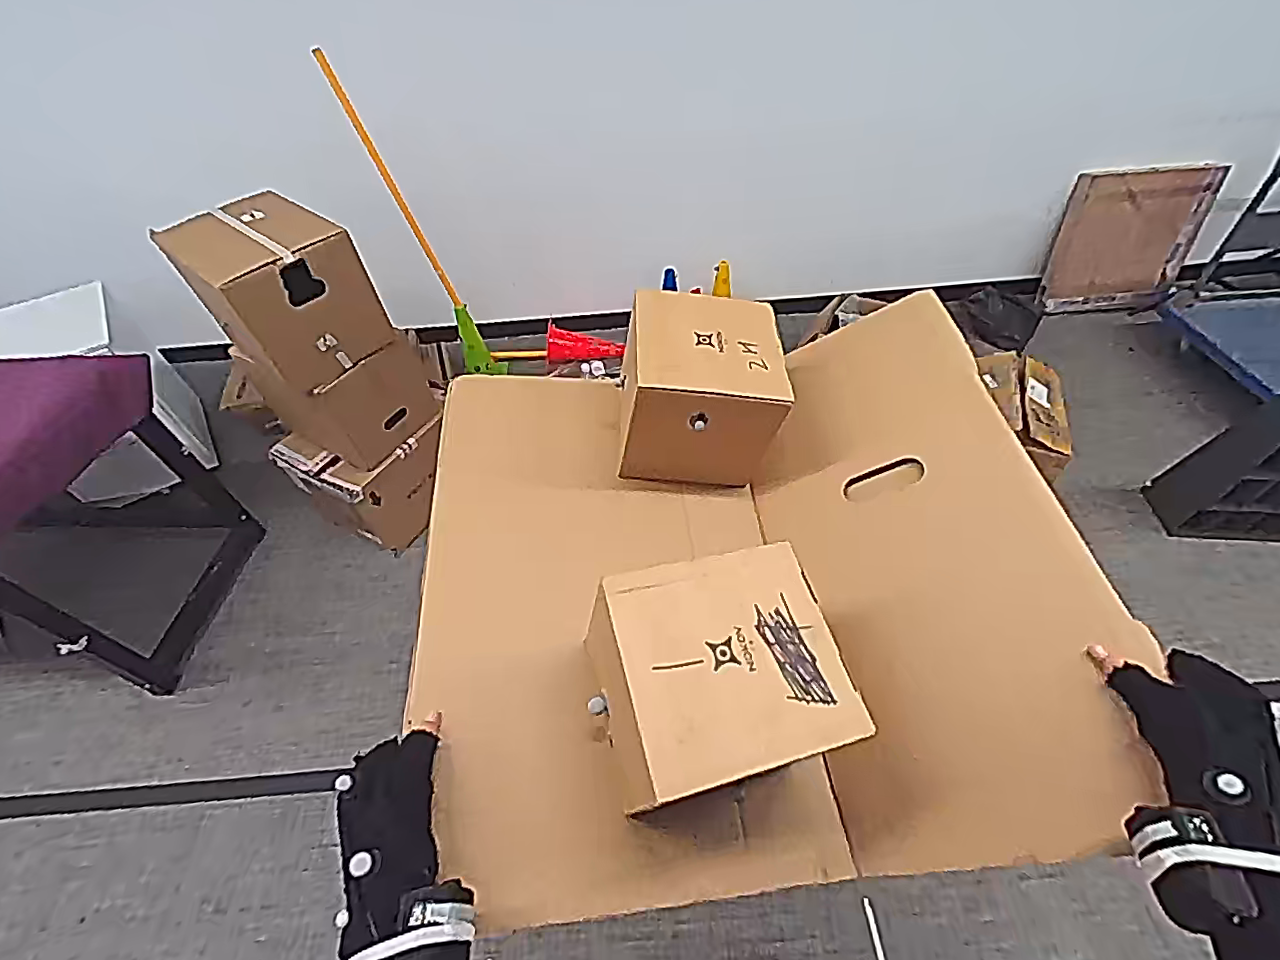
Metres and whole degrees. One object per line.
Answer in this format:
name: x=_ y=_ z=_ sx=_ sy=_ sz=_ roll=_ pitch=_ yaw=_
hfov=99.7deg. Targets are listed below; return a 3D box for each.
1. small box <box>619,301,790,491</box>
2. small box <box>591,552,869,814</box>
small box: x=0.068 y=-0.100 z=0.691 sx=0.179 sy=0.176 sz=0.168 roll=5 pitch=55 yaw=-8
small box: x=0.061 y=0.186 z=0.492 sx=0.179 sy=0.176 sz=0.168 roll=-9 pitch=58 yaw=-15
